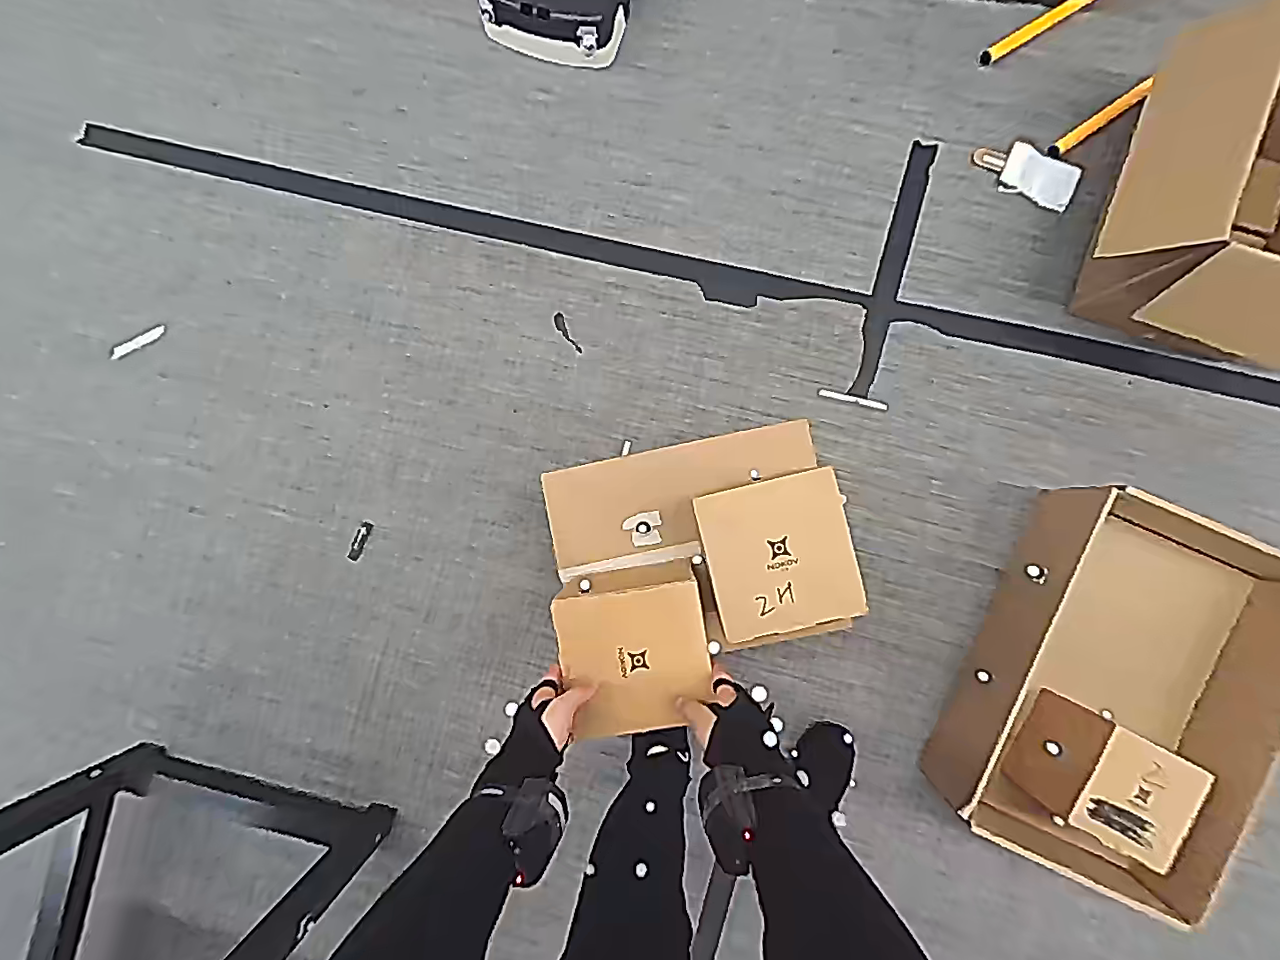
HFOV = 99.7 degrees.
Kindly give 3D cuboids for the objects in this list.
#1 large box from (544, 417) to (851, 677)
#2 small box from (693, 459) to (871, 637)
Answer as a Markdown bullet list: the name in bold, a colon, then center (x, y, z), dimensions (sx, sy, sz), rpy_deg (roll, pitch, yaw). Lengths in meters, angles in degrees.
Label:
- **large box**: center (0.091, 0.101, 0.943), dimensions (0.408, 0.320, 0.320), rpy_deg (-13, 87, 4)
- **small box**: center (0.166, 0.079, 0.691), dimensions (0.168, 0.176, 0.179), rpy_deg (-14, 89, 4)
